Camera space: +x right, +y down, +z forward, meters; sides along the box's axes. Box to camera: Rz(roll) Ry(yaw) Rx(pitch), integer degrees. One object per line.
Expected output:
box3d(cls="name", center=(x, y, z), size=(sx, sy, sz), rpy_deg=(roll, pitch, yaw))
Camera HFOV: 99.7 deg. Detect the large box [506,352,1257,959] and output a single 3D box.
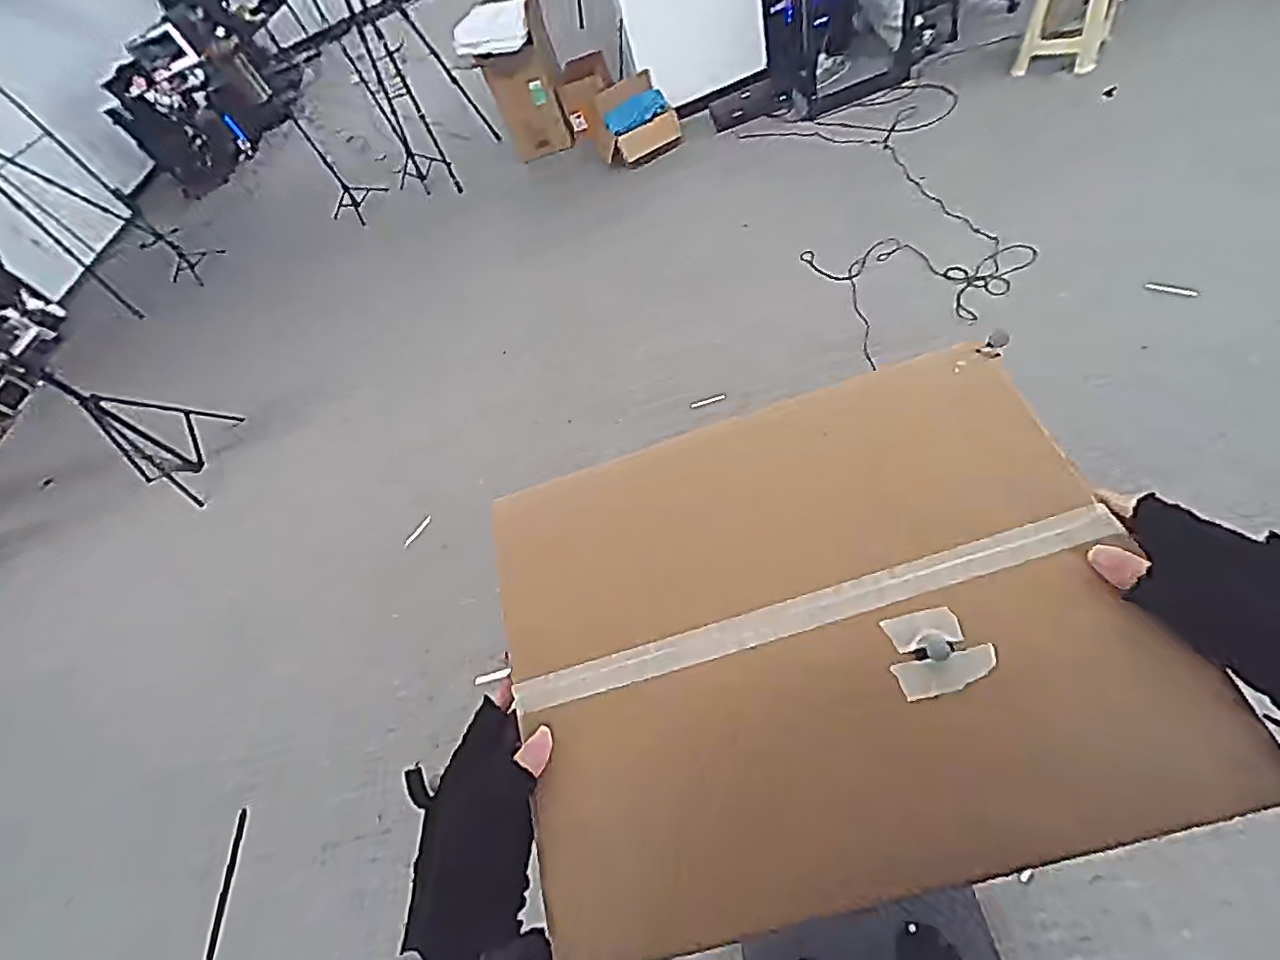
box3d(cls="large box", center=(0.140, 0.152, 0.503), size=(0.408, 0.320, 0.320), rpy_deg=(-18, 64, 5))
